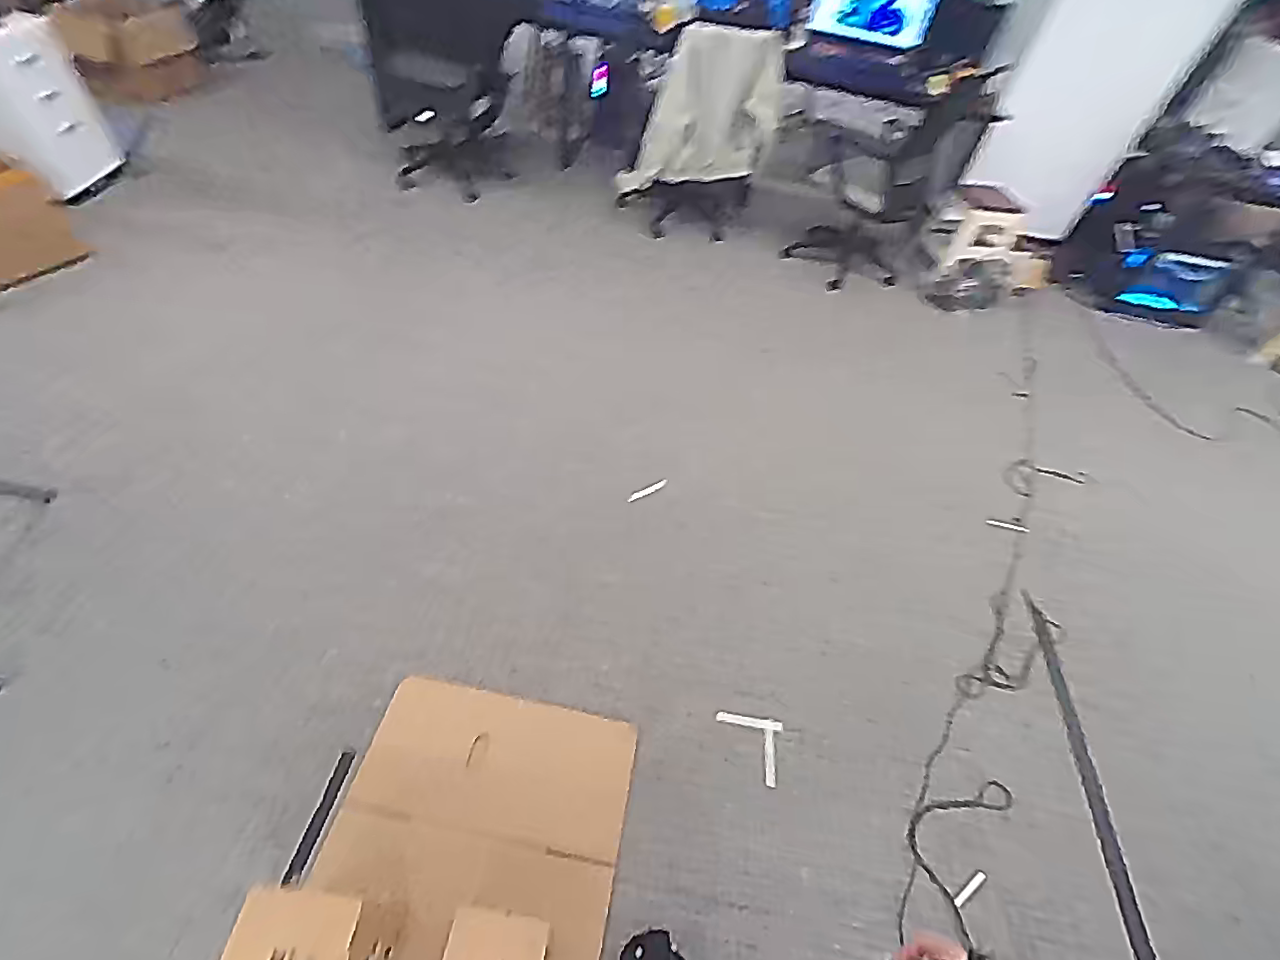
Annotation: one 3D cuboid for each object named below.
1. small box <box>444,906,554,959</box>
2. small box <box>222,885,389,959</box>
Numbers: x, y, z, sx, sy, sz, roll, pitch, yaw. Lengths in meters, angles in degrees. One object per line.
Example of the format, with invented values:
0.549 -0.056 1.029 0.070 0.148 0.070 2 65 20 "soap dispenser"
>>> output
-0.259 0.887 0.976 0.179 0.176 0.168 10 49 -1 "small box"
-0.519 0.742 0.836 0.179 0.176 0.168 8 51 -3 "small box"
